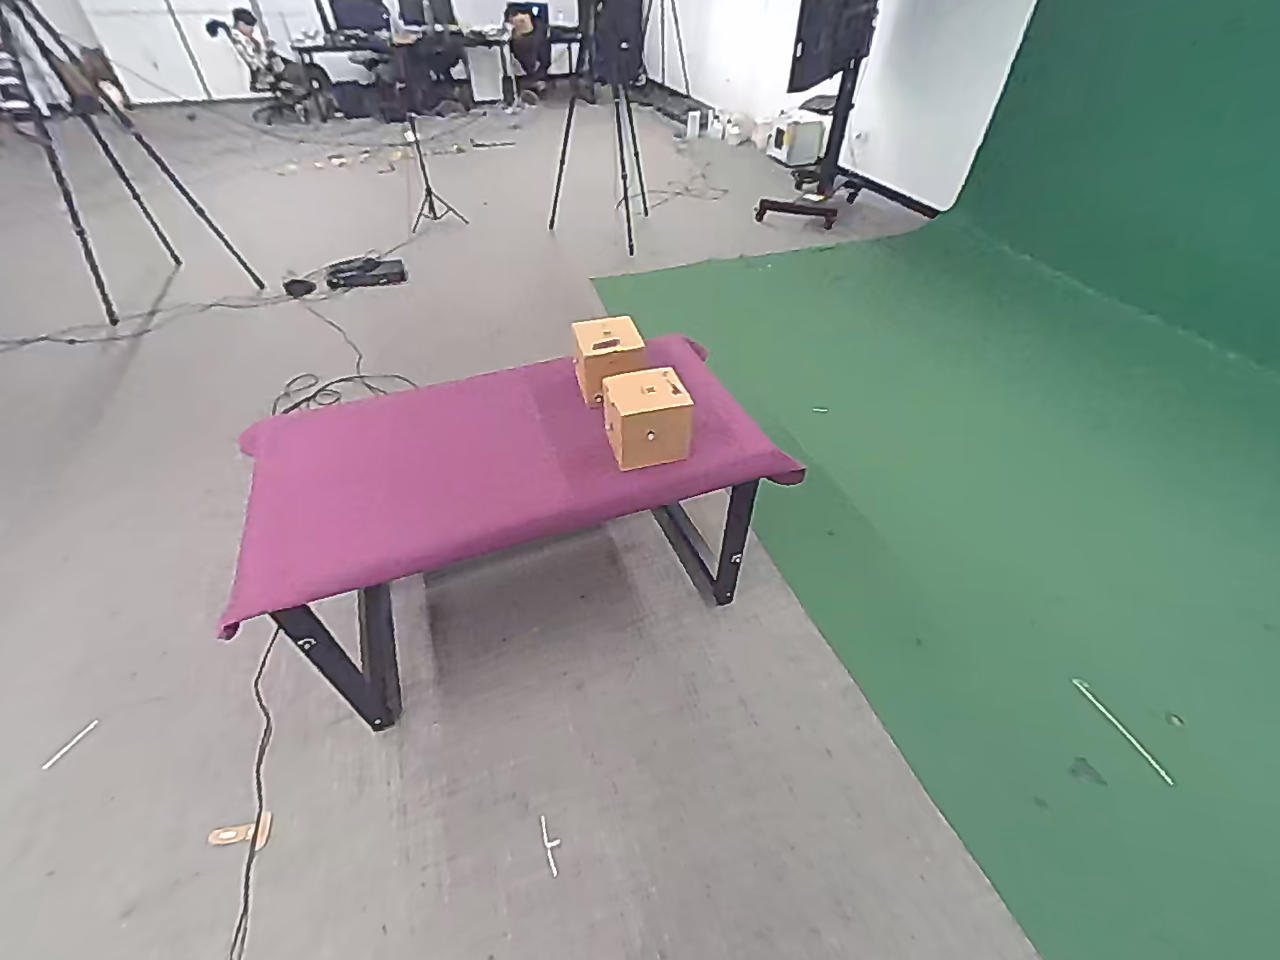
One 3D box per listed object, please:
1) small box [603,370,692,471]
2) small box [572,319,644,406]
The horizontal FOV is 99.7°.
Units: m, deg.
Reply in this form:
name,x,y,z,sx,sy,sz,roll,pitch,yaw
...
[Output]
name,x,y,z,sx,sy,sz,roll,pitch,yaw
small box,0.016,-0.142,1.310,0.179,0.176,0.168,-12,45,-11
small box,-0.086,-0.318,1.489,0.168,0.176,0.179,-11,45,-11
